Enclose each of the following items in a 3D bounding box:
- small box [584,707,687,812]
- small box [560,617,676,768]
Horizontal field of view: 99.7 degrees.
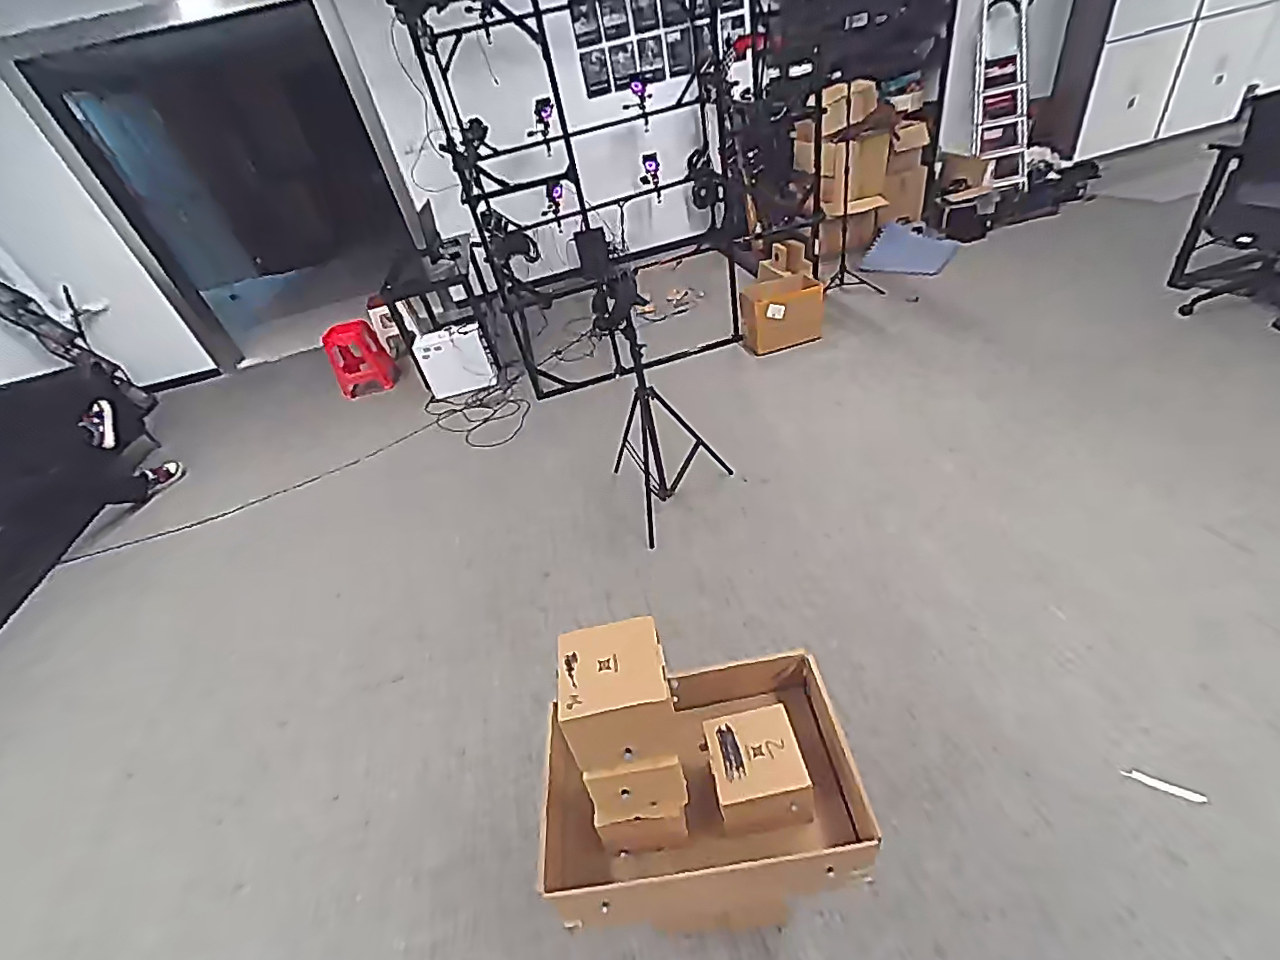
[{"bbox_3d":[-0.009,0.502,1.025,0.168,0.176,0.179,-10,36,1],"label":"small box"},{"bbox_3d":[-0.035,0.367,0.935,0.179,0.176,0.168,-11,36,0],"label":"small box"}]
